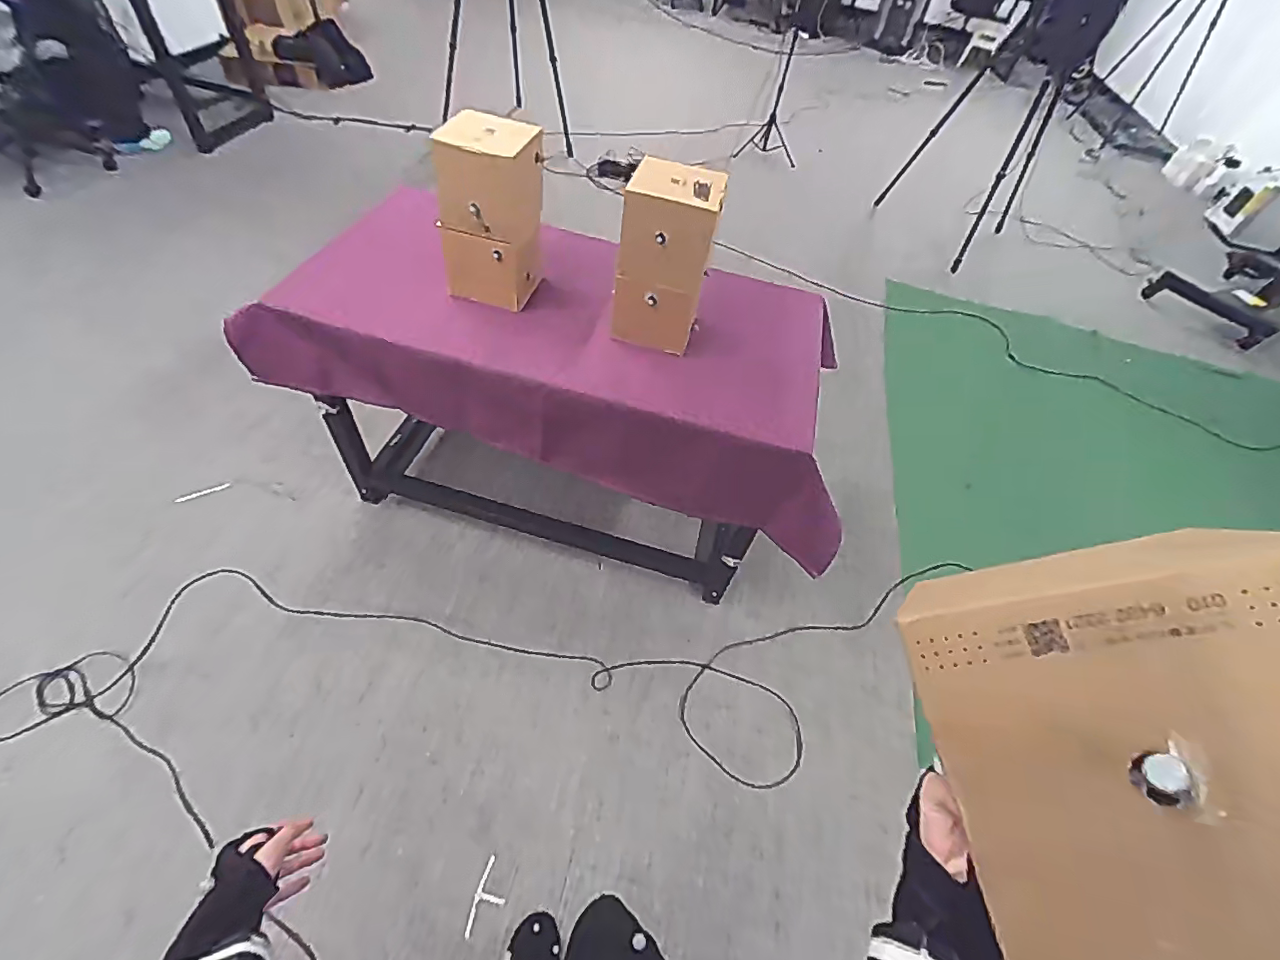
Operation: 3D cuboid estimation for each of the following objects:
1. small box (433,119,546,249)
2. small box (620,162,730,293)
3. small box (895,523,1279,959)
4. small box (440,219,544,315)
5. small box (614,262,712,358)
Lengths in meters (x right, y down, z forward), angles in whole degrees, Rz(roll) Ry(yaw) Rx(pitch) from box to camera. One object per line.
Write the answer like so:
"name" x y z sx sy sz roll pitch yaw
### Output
"small box" -0.301 -0.608 1.115 0.168 0.176 0.179 14 50 3
"small box" 0.066 -0.501 1.085 0.179 0.176 0.168 14 51 4
"small box" 0.258 0.123 0.298 0.179 0.168 0.176 8 65 -58
"small box" -0.330 -0.504 1.240 0.179 0.176 0.168 15 50 2
"small box" 0.047 -0.397 1.211 0.179 0.176 0.168 16 51 3
